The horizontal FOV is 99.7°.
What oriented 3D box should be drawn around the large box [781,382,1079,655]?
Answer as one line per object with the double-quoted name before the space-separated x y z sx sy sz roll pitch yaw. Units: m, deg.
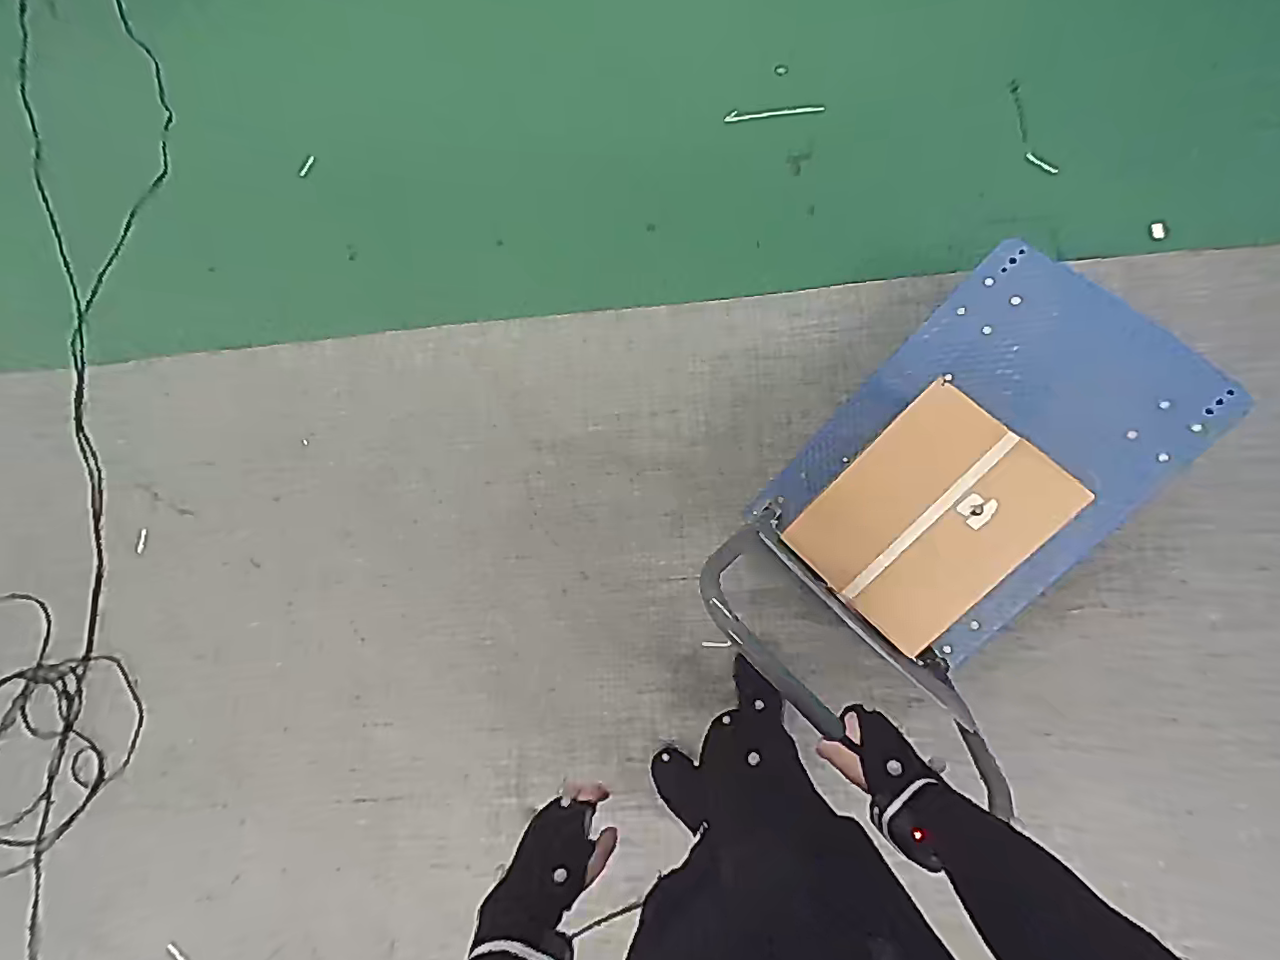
"large box" 0.545 0.077 1.112 0.320 0.320 0.408 45 100 13
